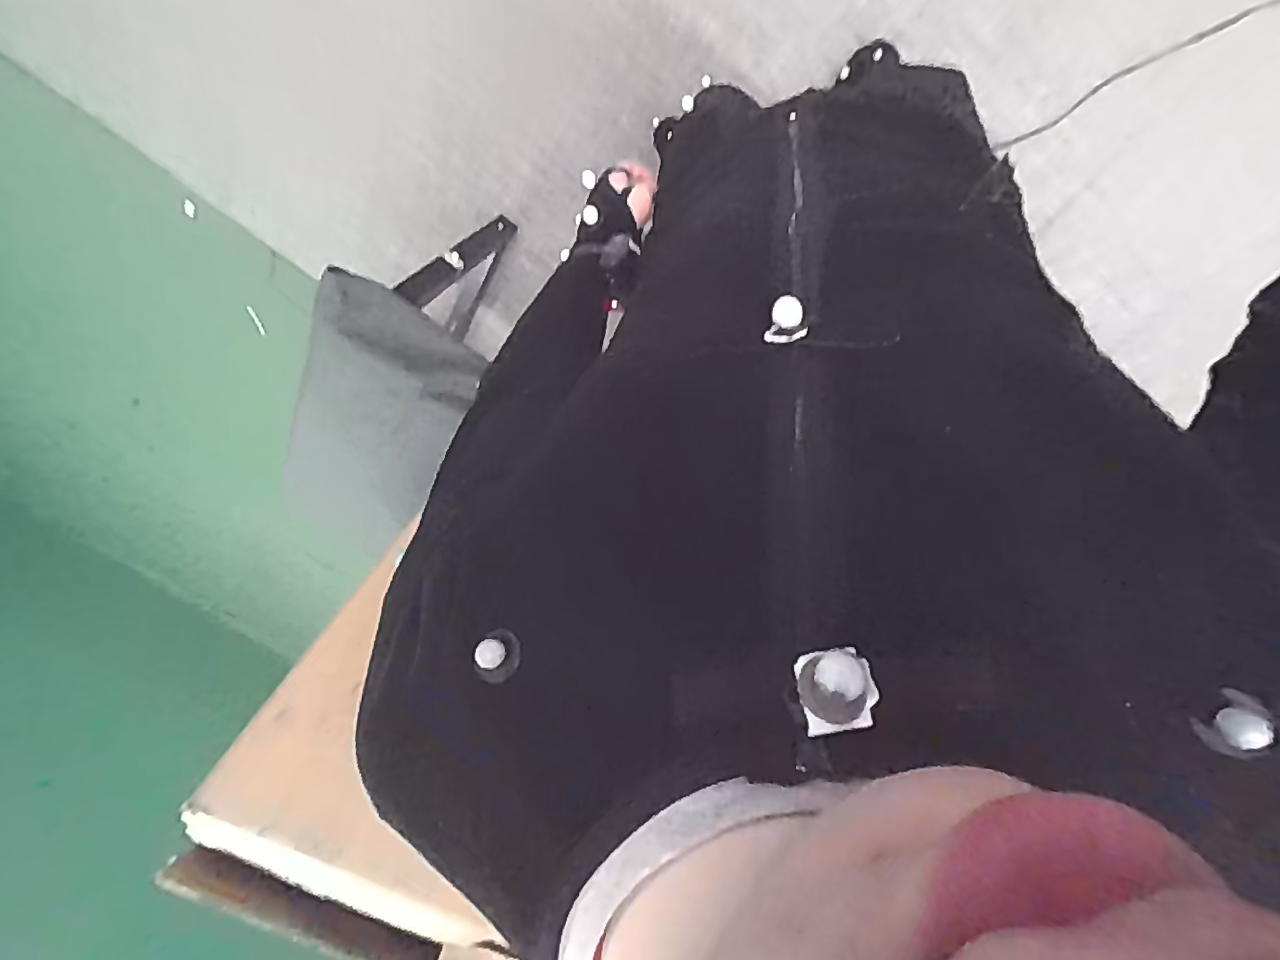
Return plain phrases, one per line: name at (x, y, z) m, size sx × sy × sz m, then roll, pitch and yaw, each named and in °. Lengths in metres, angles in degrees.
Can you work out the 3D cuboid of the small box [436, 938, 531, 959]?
small box at (-0.178, 0.691, 0.657) m, size 0.179 × 0.176 × 0.168 m, roll 33°, pitch 131°, yaw -14°
